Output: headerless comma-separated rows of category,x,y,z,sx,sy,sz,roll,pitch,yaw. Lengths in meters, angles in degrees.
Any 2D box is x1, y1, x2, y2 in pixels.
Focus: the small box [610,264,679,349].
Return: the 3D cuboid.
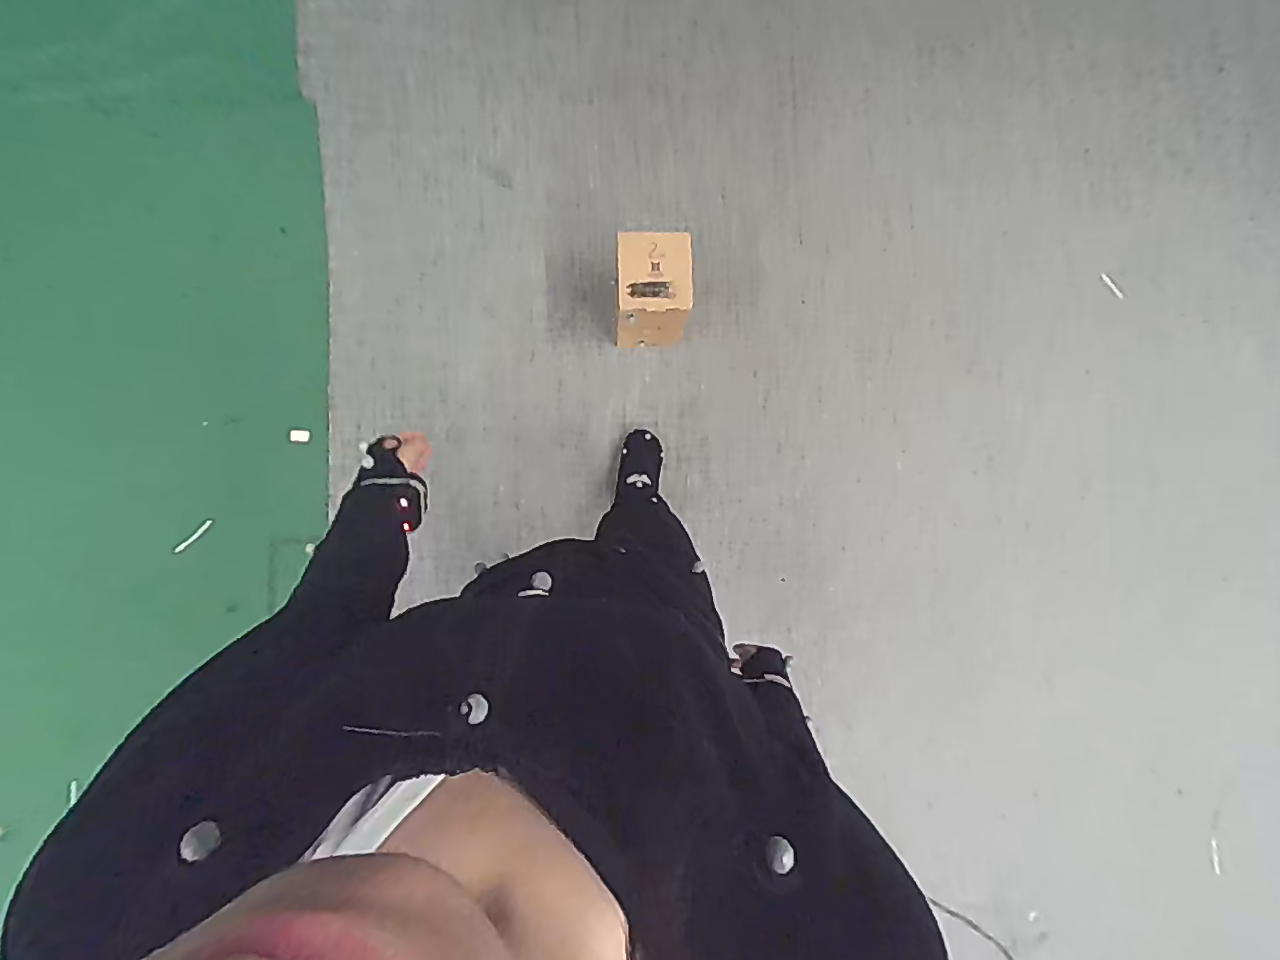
small box,0.008,-0.460,1.448,0.168,0.176,0.179,-2,90,-5
